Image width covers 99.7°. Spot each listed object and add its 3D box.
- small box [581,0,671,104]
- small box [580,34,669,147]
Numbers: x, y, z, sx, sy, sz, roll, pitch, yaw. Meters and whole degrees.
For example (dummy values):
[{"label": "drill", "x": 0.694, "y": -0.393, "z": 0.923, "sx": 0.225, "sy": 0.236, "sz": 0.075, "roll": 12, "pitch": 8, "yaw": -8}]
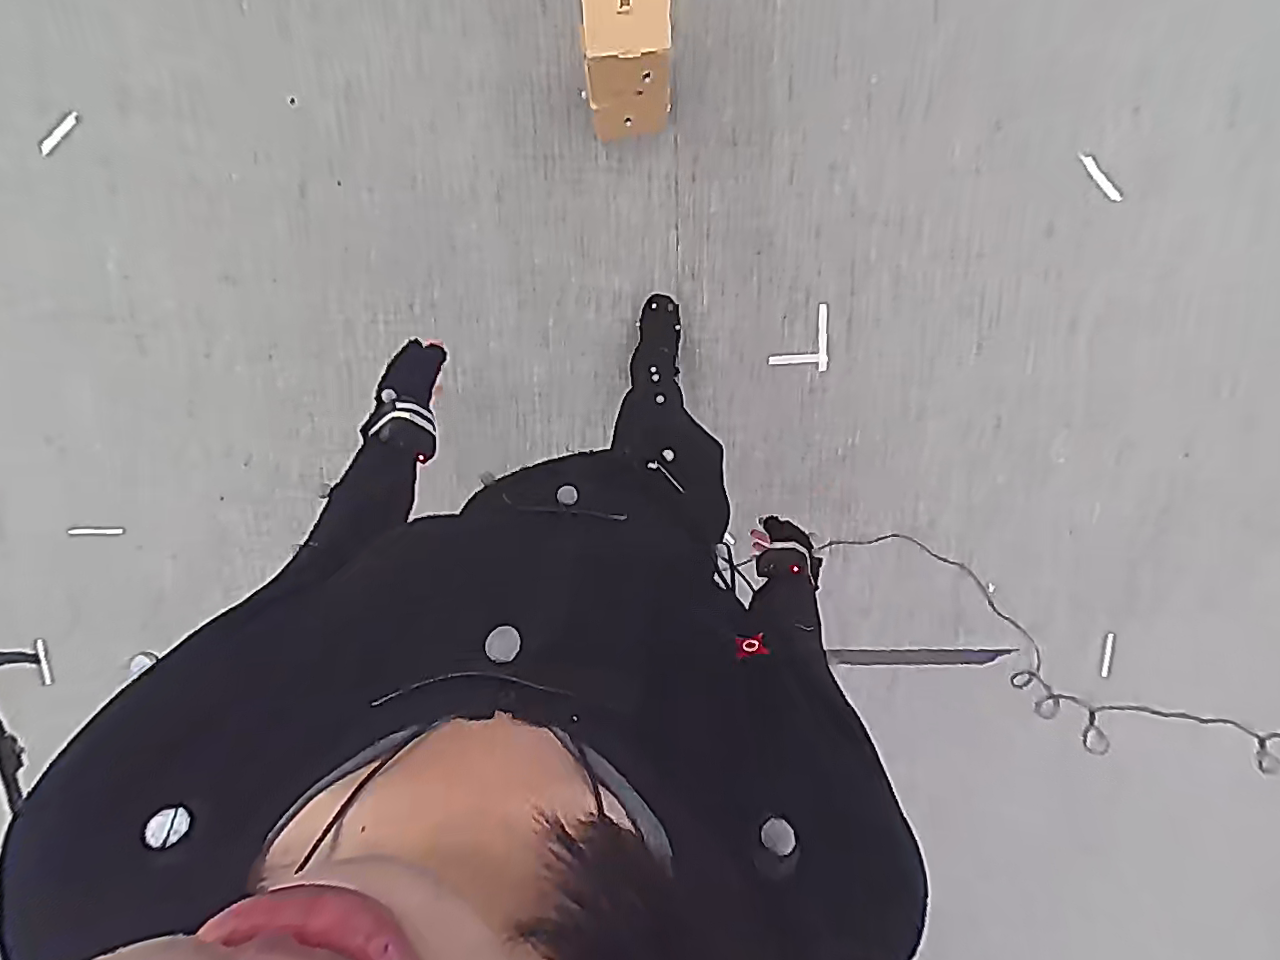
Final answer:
[{"label": "small box", "x": -0.029, "y": -0.892, "z": 1.092, "sx": 0.168, "sy": 0.176, "sz": 0.179, "roll": -6, "pitch": 99, "yaw": -1}, {"label": "small box", "x": -0.034, "y": -0.906, "z": 1.254, "sx": 0.179, "sy": 0.176, "sz": 0.168, "roll": -9, "pitch": 100, "yaw": 2}]
